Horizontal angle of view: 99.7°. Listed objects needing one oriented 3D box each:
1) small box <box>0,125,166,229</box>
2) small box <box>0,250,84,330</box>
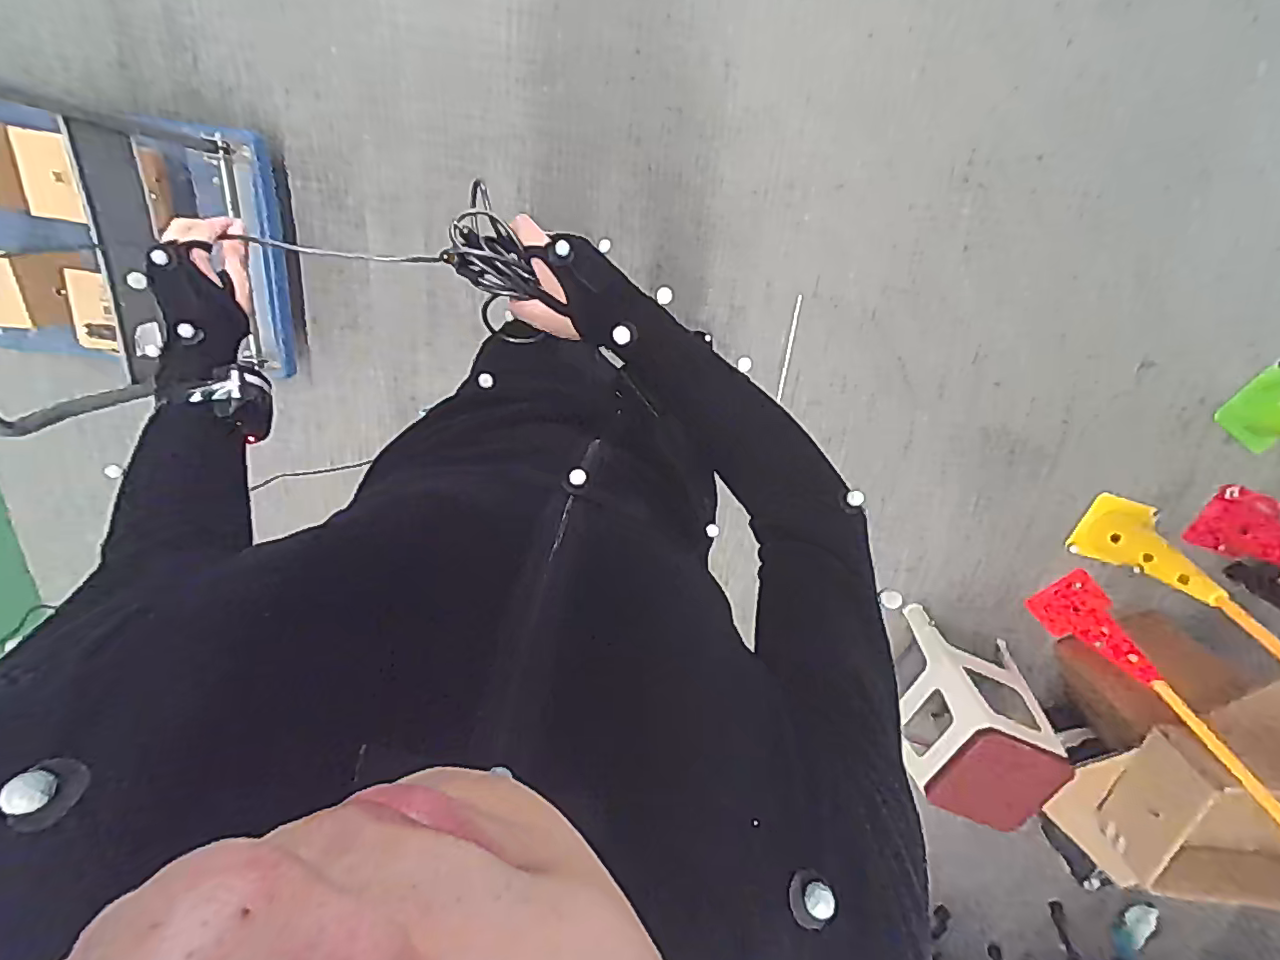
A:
[{"bbox_3d":[-1.205,-0.652,1.183,0.179,0.176,0.168,7,113,-1],"label":"small box"},{"bbox_3d":[-1.481,-0.452,1.275,0.179,0.176,0.168,3,112,1],"label":"small box"}]
